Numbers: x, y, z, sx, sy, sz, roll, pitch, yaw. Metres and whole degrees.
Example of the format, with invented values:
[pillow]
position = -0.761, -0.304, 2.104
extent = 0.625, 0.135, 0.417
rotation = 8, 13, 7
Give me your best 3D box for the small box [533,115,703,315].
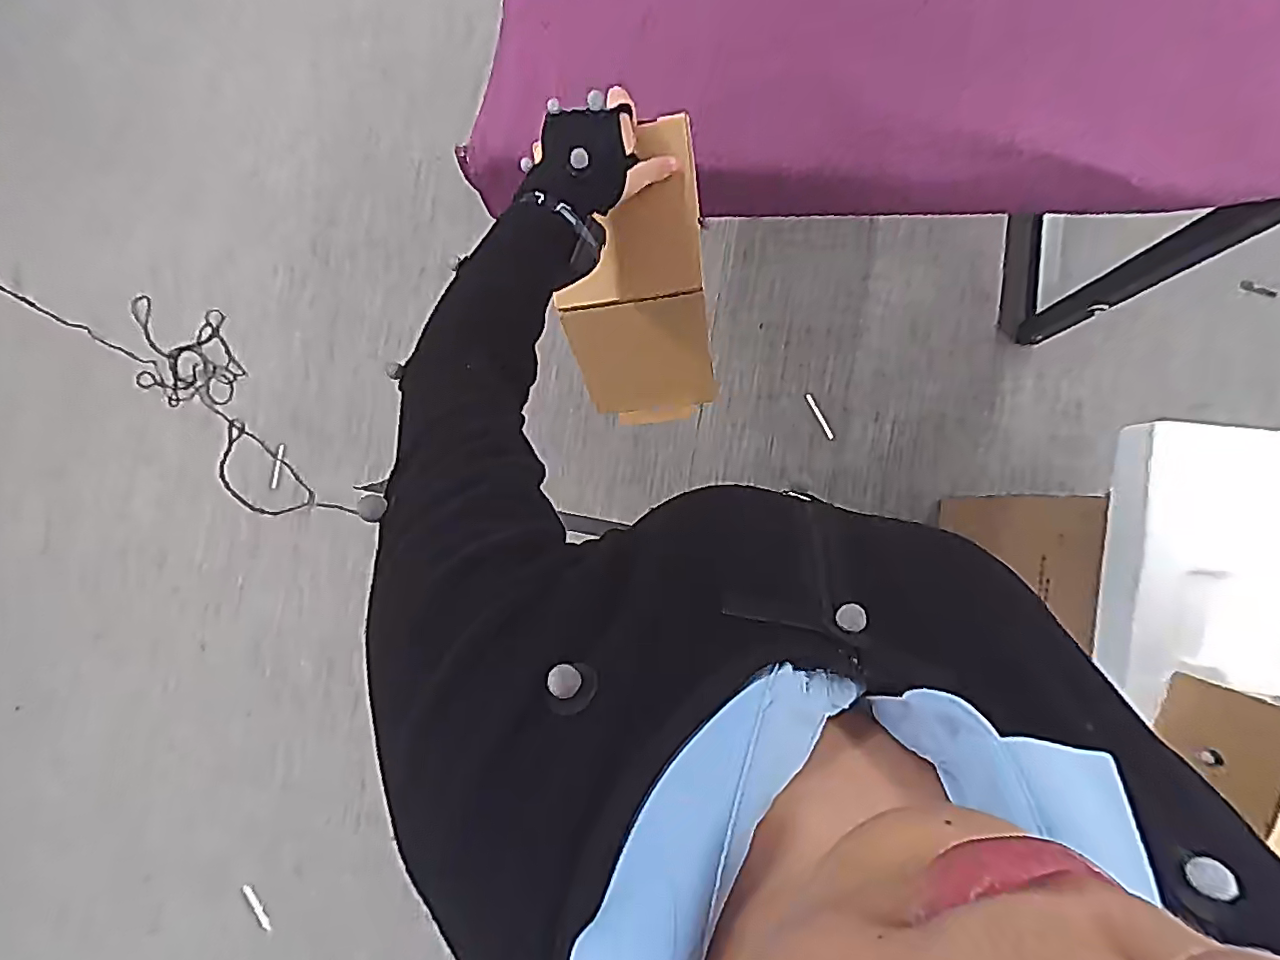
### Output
[small box]
position = -0.014, -0.298, 0.653
extent = 0.168, 0.176, 0.179
rotation = -5, 102, 9
